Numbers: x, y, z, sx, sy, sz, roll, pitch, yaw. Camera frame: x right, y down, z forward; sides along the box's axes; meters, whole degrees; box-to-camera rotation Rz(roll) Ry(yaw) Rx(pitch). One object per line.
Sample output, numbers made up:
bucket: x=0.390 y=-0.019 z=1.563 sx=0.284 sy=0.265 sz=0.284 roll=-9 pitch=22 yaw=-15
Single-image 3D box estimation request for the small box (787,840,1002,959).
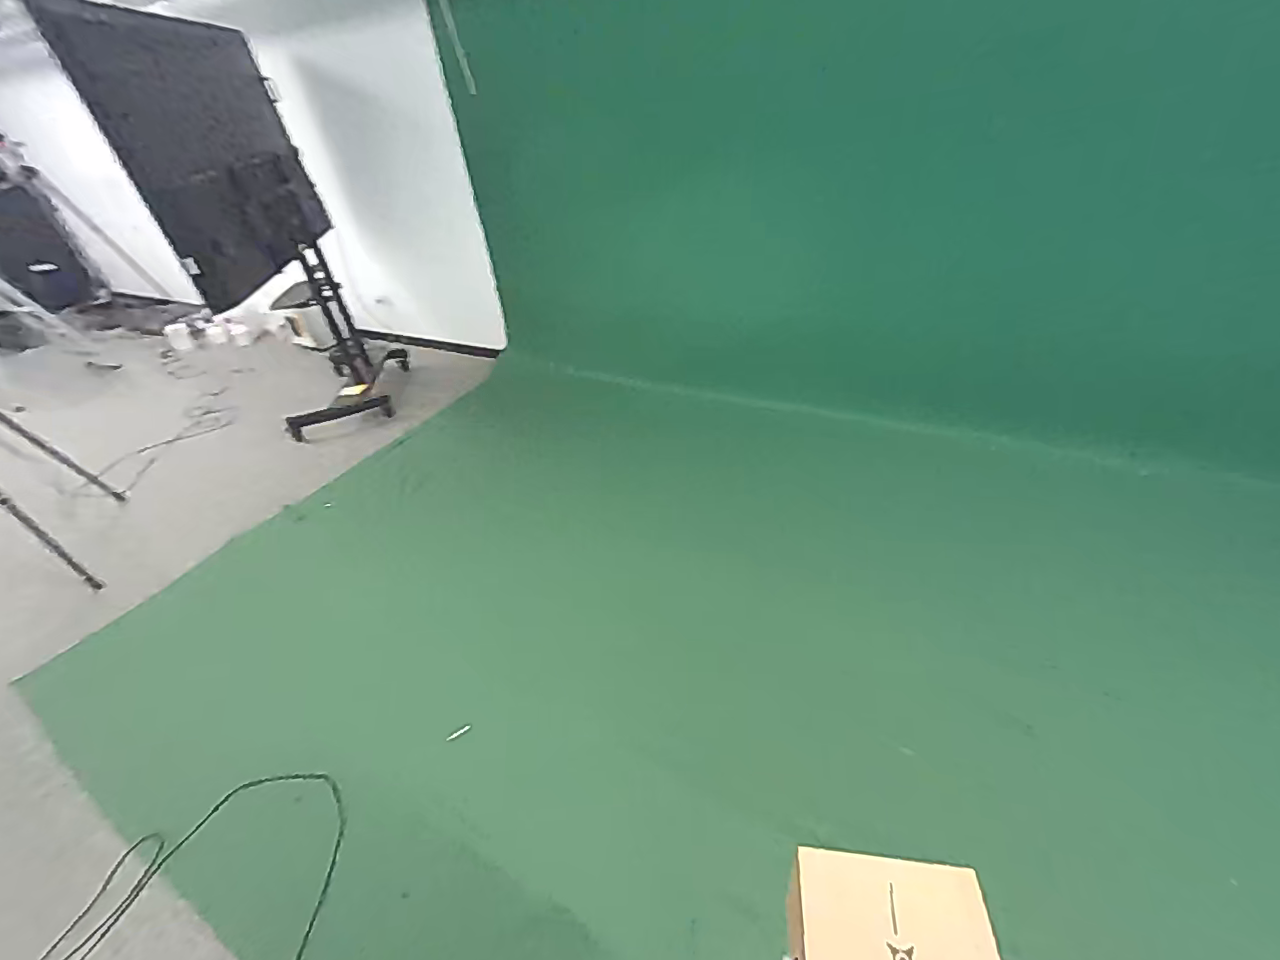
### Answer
small box: x=0.231 y=0.478 z=0.508 sx=0.168 sy=0.176 sz=0.179 roll=2 pitch=38 yaw=10
